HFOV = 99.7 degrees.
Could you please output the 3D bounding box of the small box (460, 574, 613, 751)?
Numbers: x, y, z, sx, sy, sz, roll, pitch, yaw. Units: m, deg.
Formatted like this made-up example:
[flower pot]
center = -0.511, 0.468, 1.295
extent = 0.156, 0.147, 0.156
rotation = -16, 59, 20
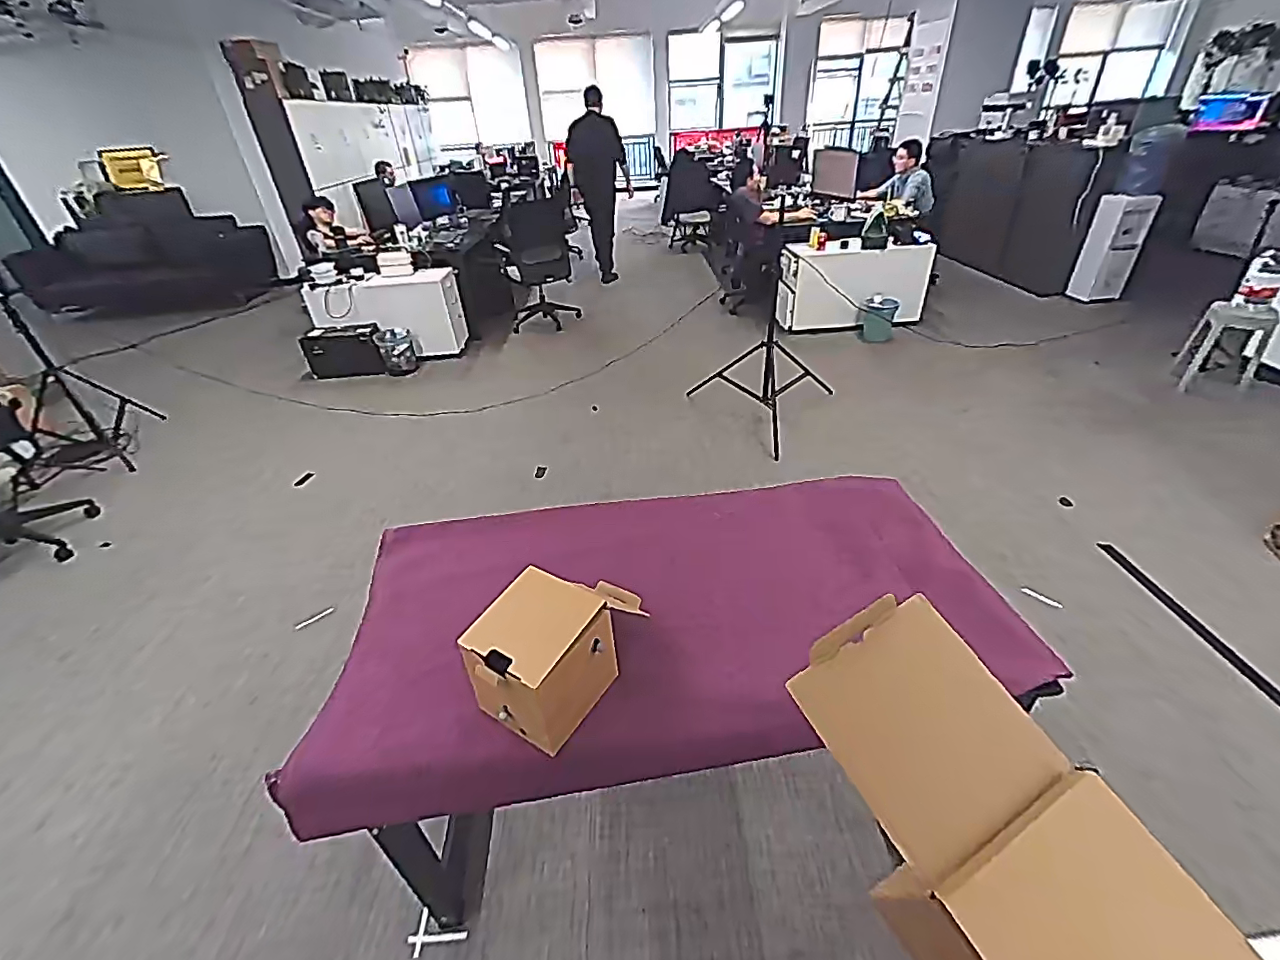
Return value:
[small box]
center = -0.157, 0.291, 0.881
extent = 0.168, 0.176, 0.179
rotation = 16, 38, 30
